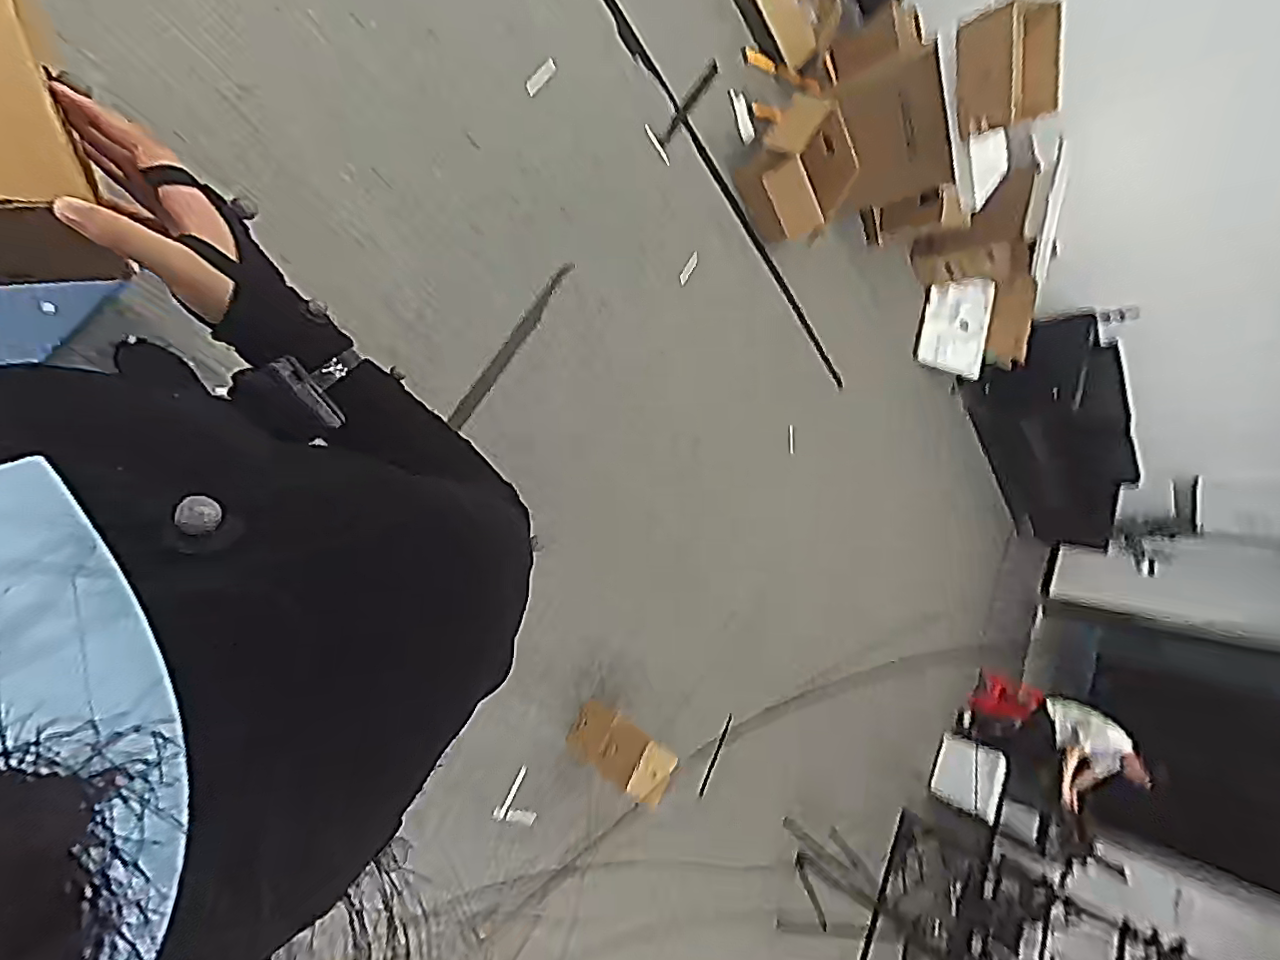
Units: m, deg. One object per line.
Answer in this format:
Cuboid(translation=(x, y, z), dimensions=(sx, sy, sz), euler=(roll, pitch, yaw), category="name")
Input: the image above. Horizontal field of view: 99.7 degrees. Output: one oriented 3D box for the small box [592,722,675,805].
Cuboid(translation=(-0.021, 0.928, 1.780), dimensions=(0.179, 0.176, 0.168), euler=(48, 62, -33), category="small box")
